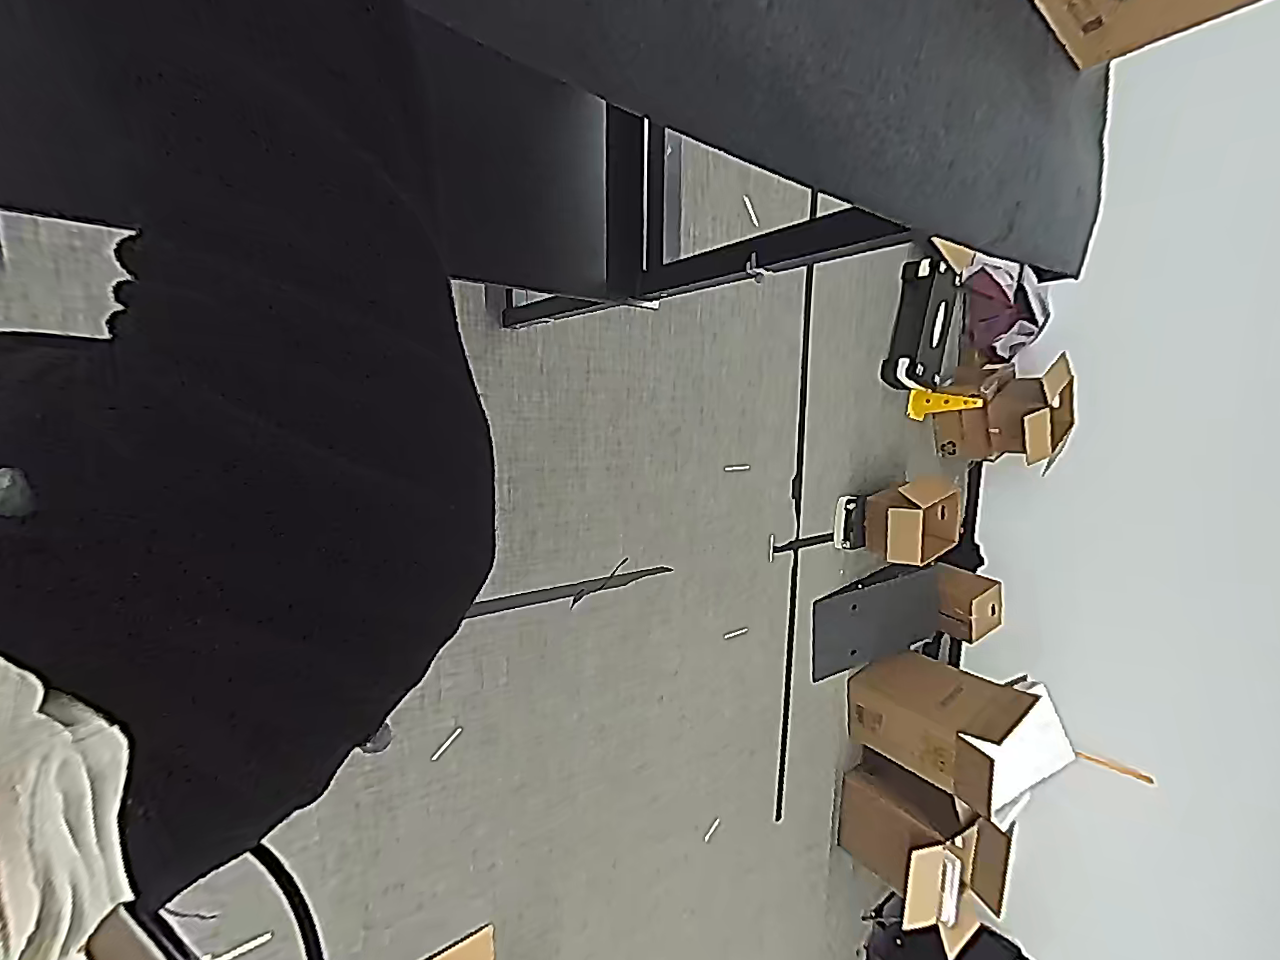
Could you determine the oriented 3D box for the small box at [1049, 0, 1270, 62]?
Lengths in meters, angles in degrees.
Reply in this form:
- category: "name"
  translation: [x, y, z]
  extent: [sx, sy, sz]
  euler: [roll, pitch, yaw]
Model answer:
- category: "small box"
  translation: [0.416, -0.464, 0.390]
  extent: [0.168, 0.176, 0.179]
  euler: [2, 97, -36]
